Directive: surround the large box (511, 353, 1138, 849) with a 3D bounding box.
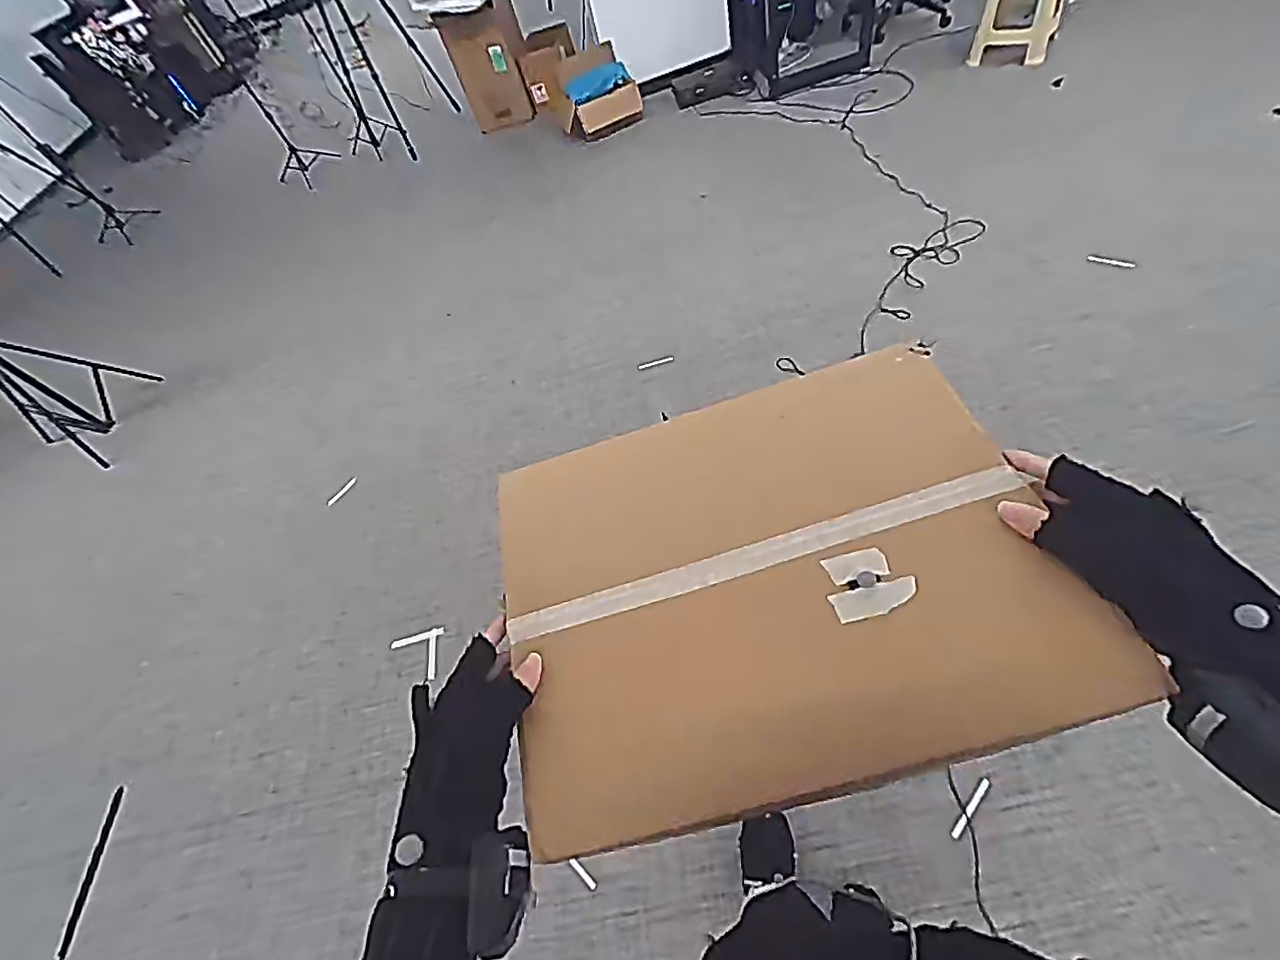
[{"bbox_3d":[0.126,0.141,0.554,0.408,0.320,0.320,-18,56,4],"label":"large box"}]
